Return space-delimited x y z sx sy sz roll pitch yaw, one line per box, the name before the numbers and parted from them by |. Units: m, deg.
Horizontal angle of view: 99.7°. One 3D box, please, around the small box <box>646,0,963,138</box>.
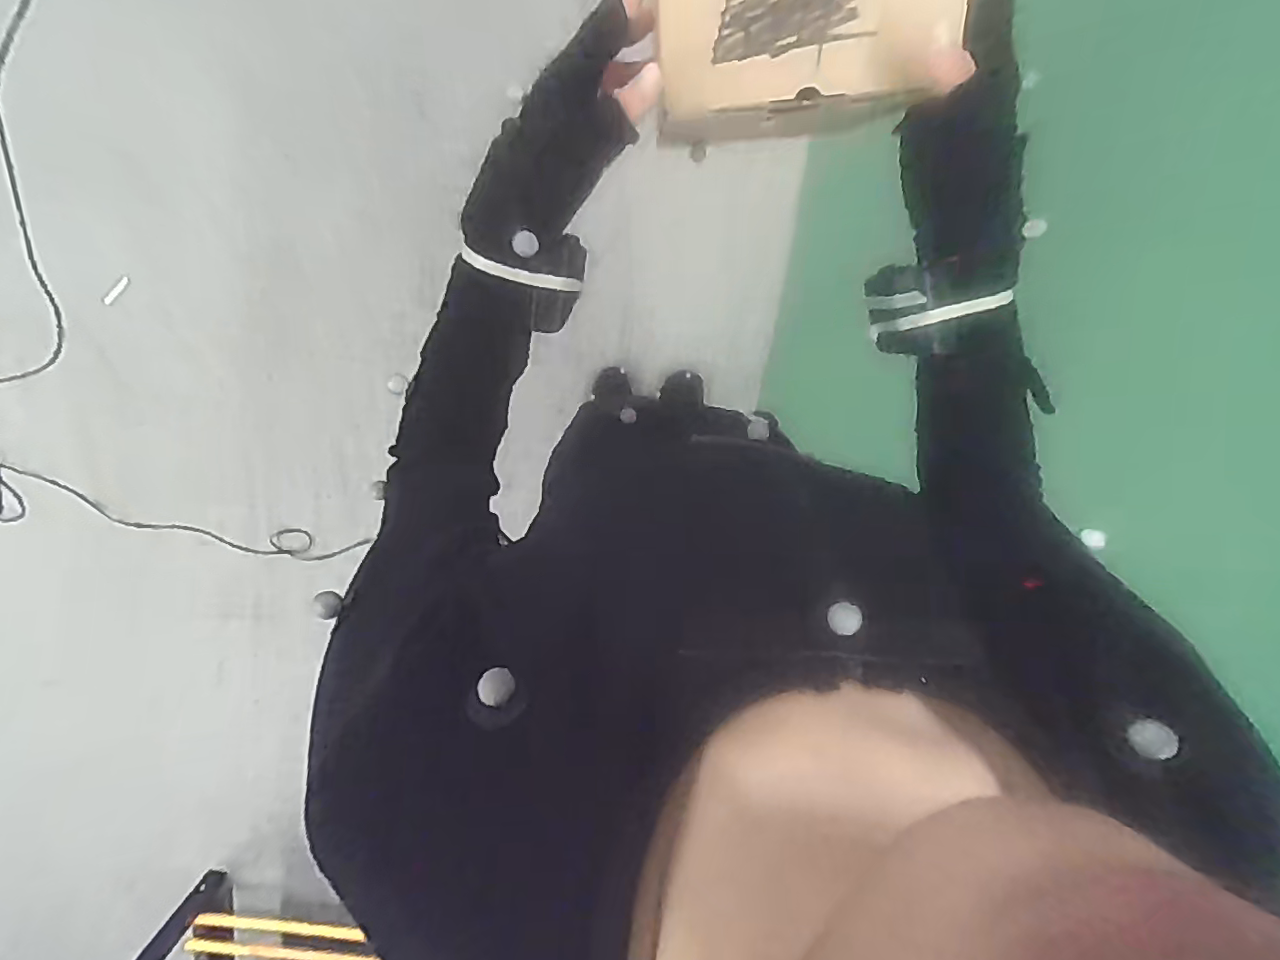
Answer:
small box | 0.087 -0.328 0.340 0.168 0.176 0.179 -4 115 2
